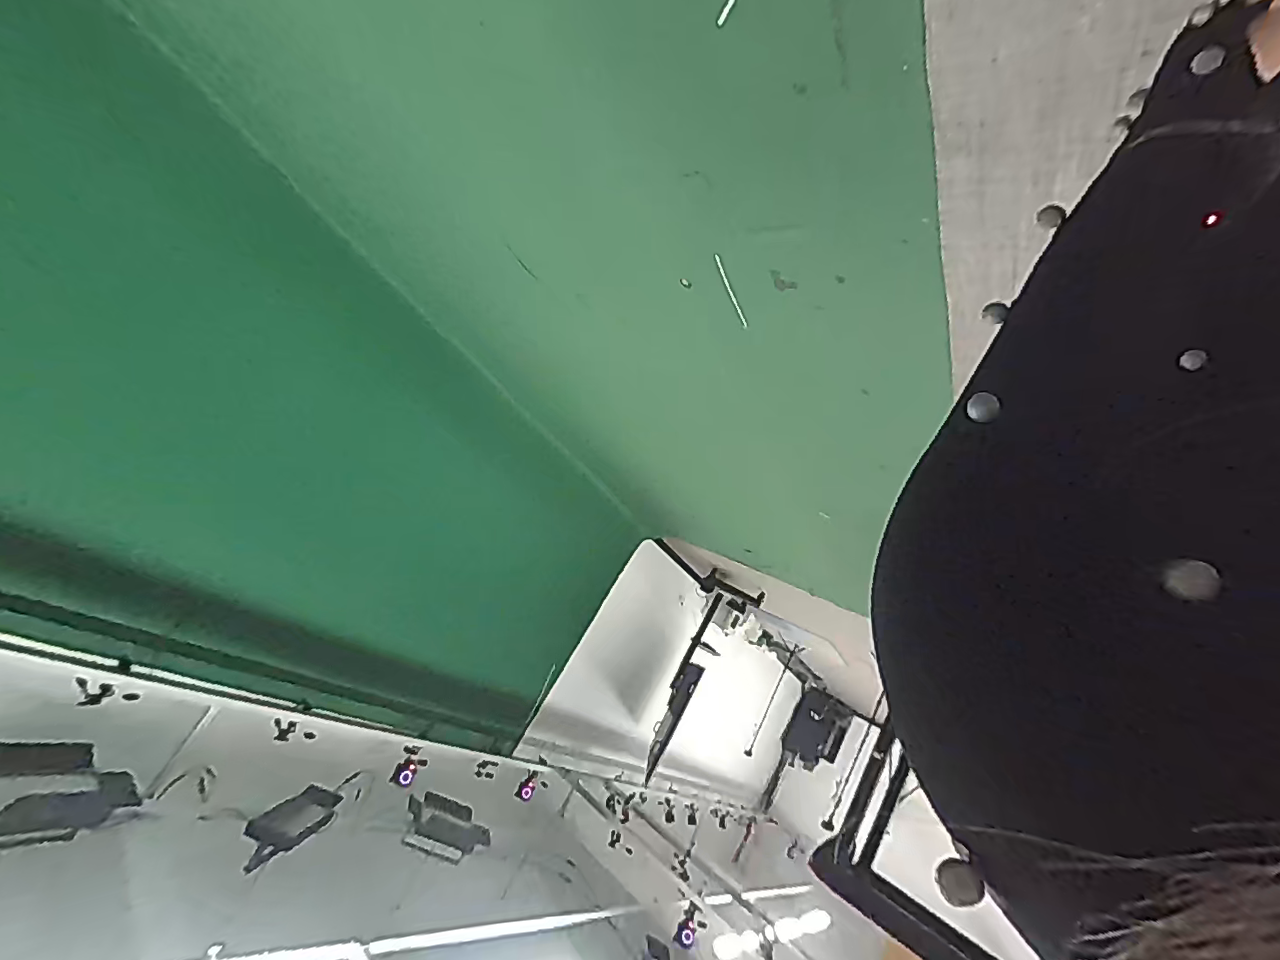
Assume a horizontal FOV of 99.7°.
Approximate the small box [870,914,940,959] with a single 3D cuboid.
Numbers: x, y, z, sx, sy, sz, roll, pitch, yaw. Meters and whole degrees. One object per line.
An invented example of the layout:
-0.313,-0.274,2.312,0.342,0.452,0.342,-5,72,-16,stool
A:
0.864,1.566,1.769,0.168,0.176,0.179,19,160,39,small box
